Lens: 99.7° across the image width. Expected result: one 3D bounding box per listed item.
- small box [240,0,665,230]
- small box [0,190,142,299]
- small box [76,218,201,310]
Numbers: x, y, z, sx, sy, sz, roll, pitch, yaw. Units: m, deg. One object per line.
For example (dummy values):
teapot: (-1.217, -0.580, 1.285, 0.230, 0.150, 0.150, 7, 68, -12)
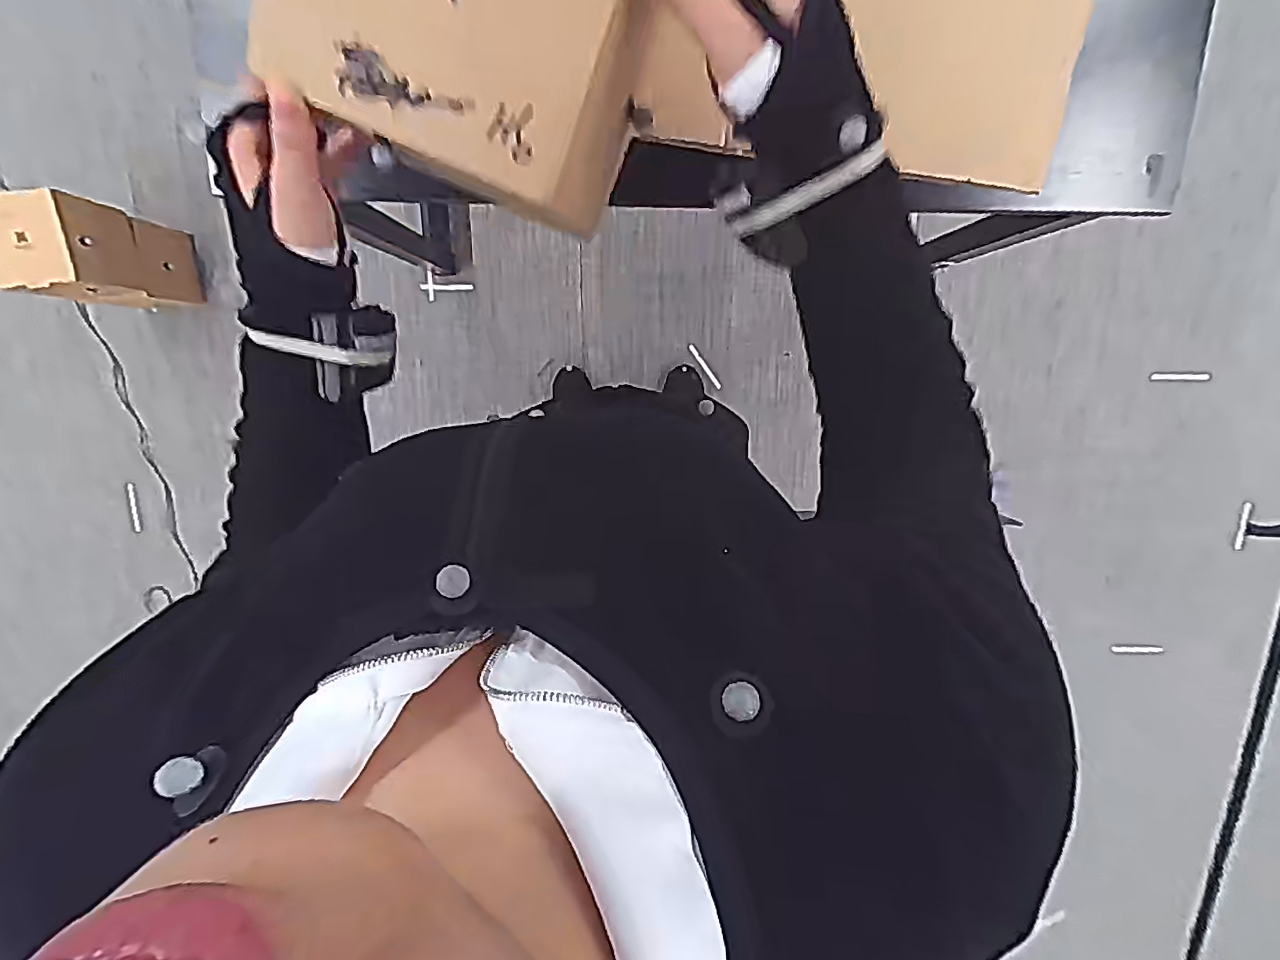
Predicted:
small box: (-0.085, -0.276, 0.323, 0.168, 0.176, 0.179, 22, 107, -4)
small box: (-1.208, -0.483, 1.134, 0.168, 0.176, 0.179, -6, 101, 0)
small box: (-1.208, -0.510, 1.294, 0.168, 0.176, 0.179, -3, 102, 0)
